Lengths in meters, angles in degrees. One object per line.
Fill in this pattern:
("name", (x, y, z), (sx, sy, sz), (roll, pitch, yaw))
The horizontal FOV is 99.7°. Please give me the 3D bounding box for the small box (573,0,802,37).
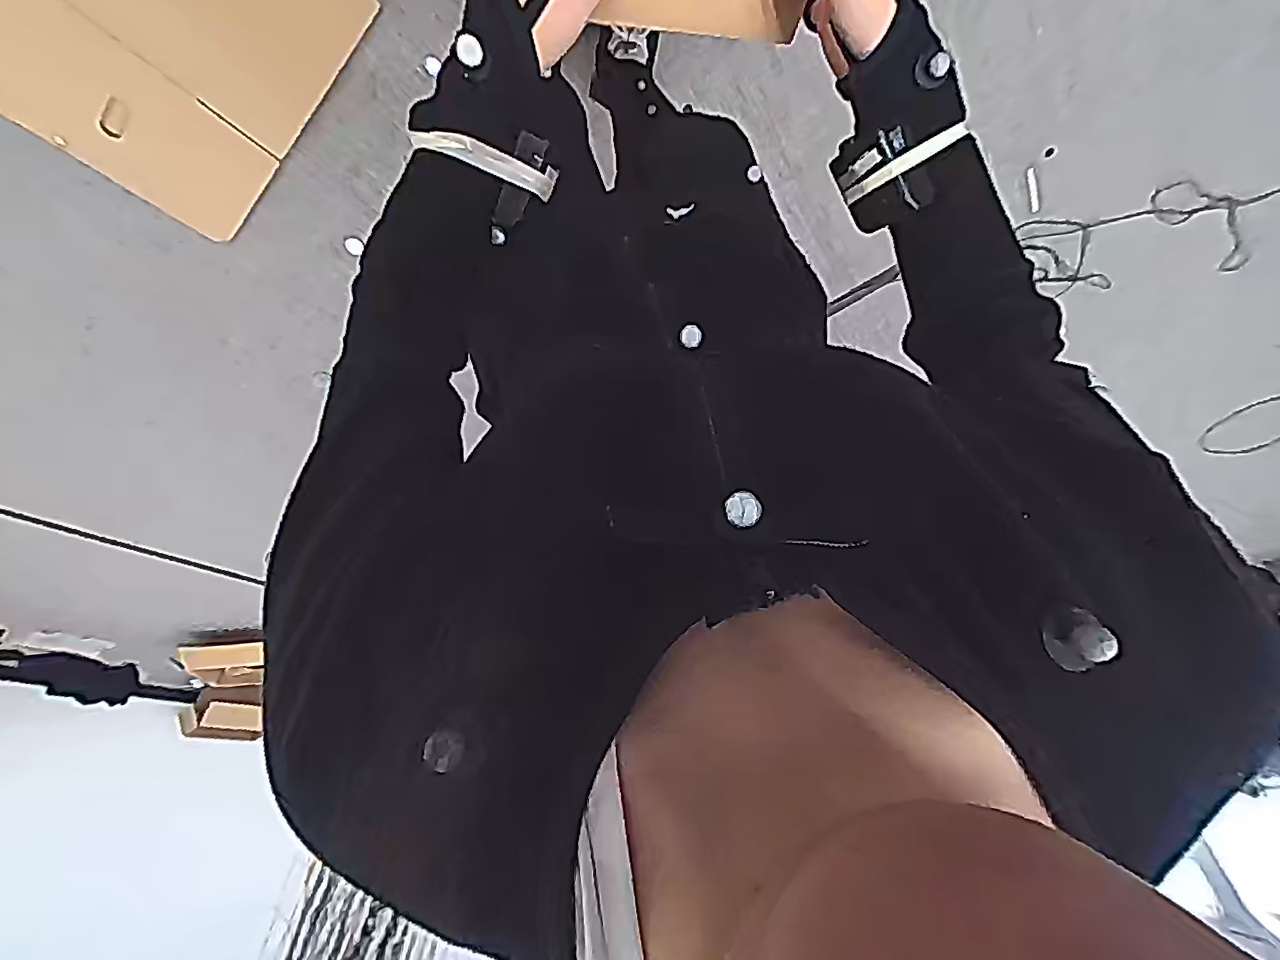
("small box", (0.037, -0.441, 0.350), (0.168, 0.176, 0.179), (-3, 154, -11))
